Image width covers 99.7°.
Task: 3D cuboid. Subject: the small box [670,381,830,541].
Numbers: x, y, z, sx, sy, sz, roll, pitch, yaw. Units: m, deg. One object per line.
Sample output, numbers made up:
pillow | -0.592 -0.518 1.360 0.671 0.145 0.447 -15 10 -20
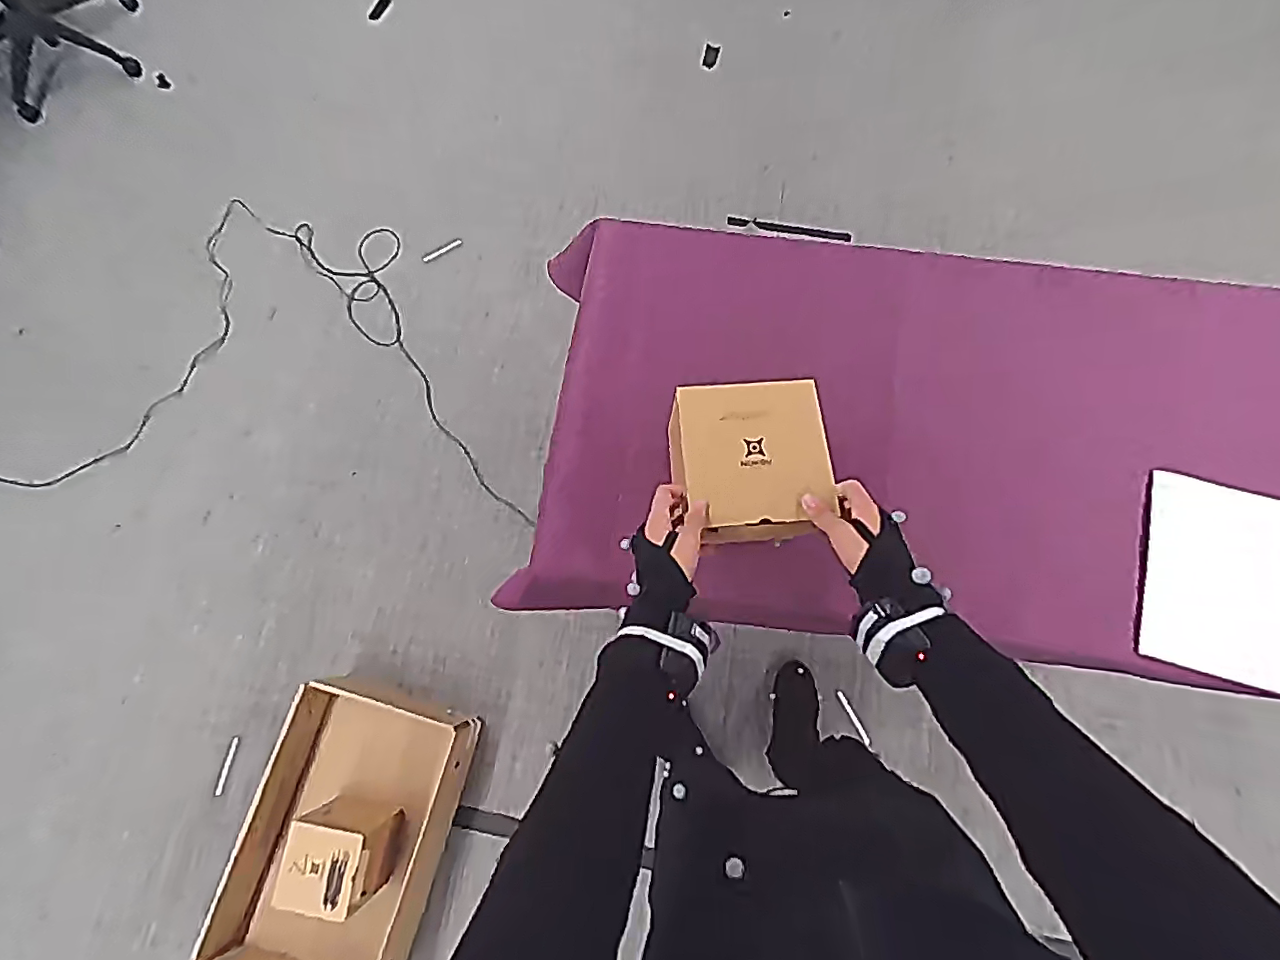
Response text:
small box | 0.128 -0.014 0.695 0.168 0.176 0.179 -3 79 -1
